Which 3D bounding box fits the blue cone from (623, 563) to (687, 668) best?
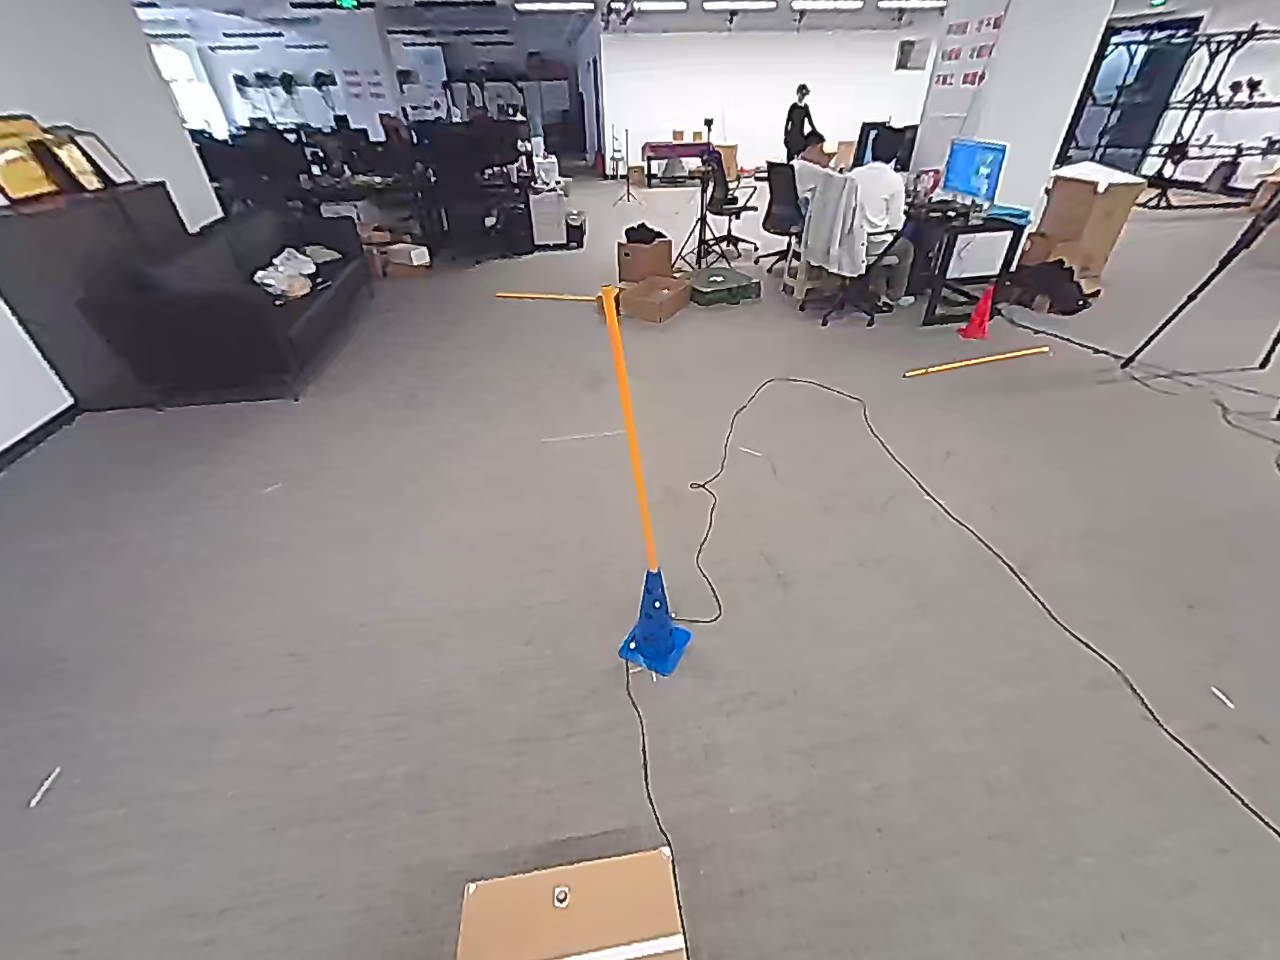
[{"bbox_3d":[0.048,0.415,1.747,0.192,0.380,0.193,13,39,21],"label":"blue cone"}]
